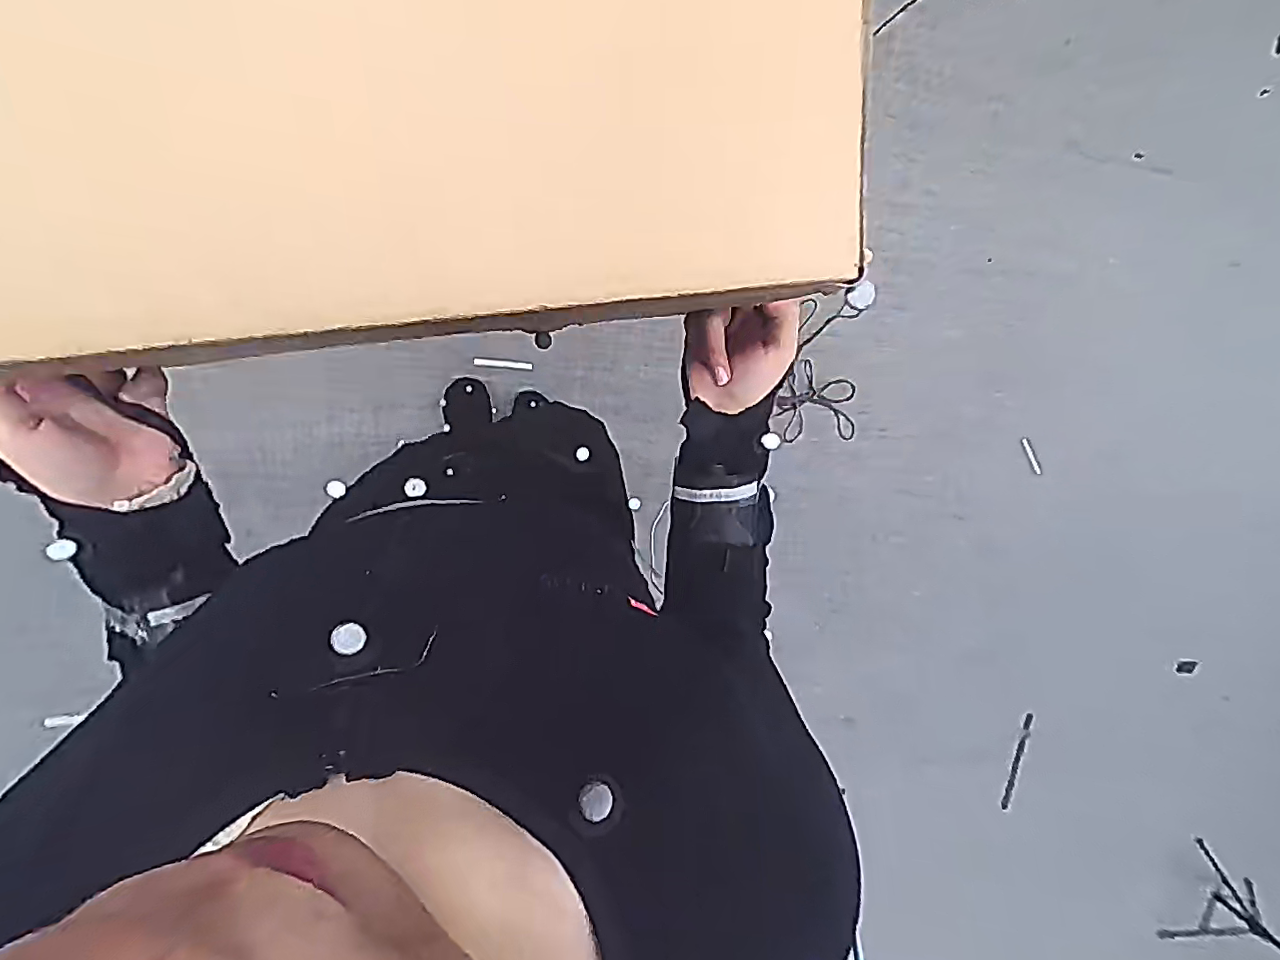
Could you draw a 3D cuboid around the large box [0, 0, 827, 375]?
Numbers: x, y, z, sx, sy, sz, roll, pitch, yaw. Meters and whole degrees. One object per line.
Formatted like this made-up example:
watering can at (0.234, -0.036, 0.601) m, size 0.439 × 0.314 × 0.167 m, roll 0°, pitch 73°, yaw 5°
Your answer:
large box at (-0.161, -0.244, 0.290) m, size 0.408 × 0.320 × 0.320 m, roll -9°, pitch 108°, yaw -5°
